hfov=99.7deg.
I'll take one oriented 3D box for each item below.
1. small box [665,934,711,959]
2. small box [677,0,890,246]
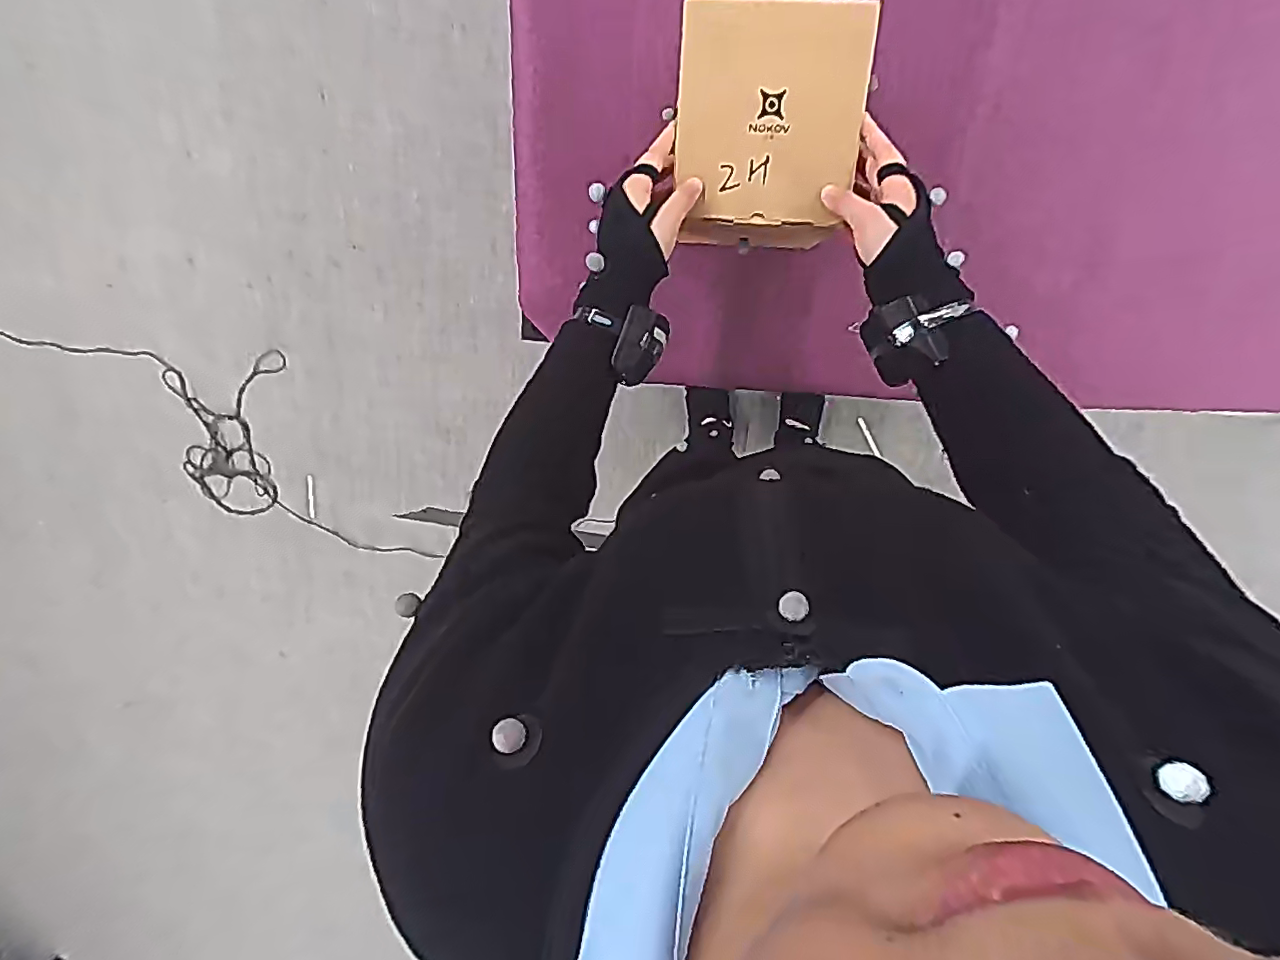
[{"bbox_3d":[0.172,1.805,1.960,0.168,0.176,0.179,2,107,5],"label":"small box"},{"bbox_3d":[0.126,-0.346,0.546,0.168,0.176,0.179,5,107,4],"label":"small box"}]
